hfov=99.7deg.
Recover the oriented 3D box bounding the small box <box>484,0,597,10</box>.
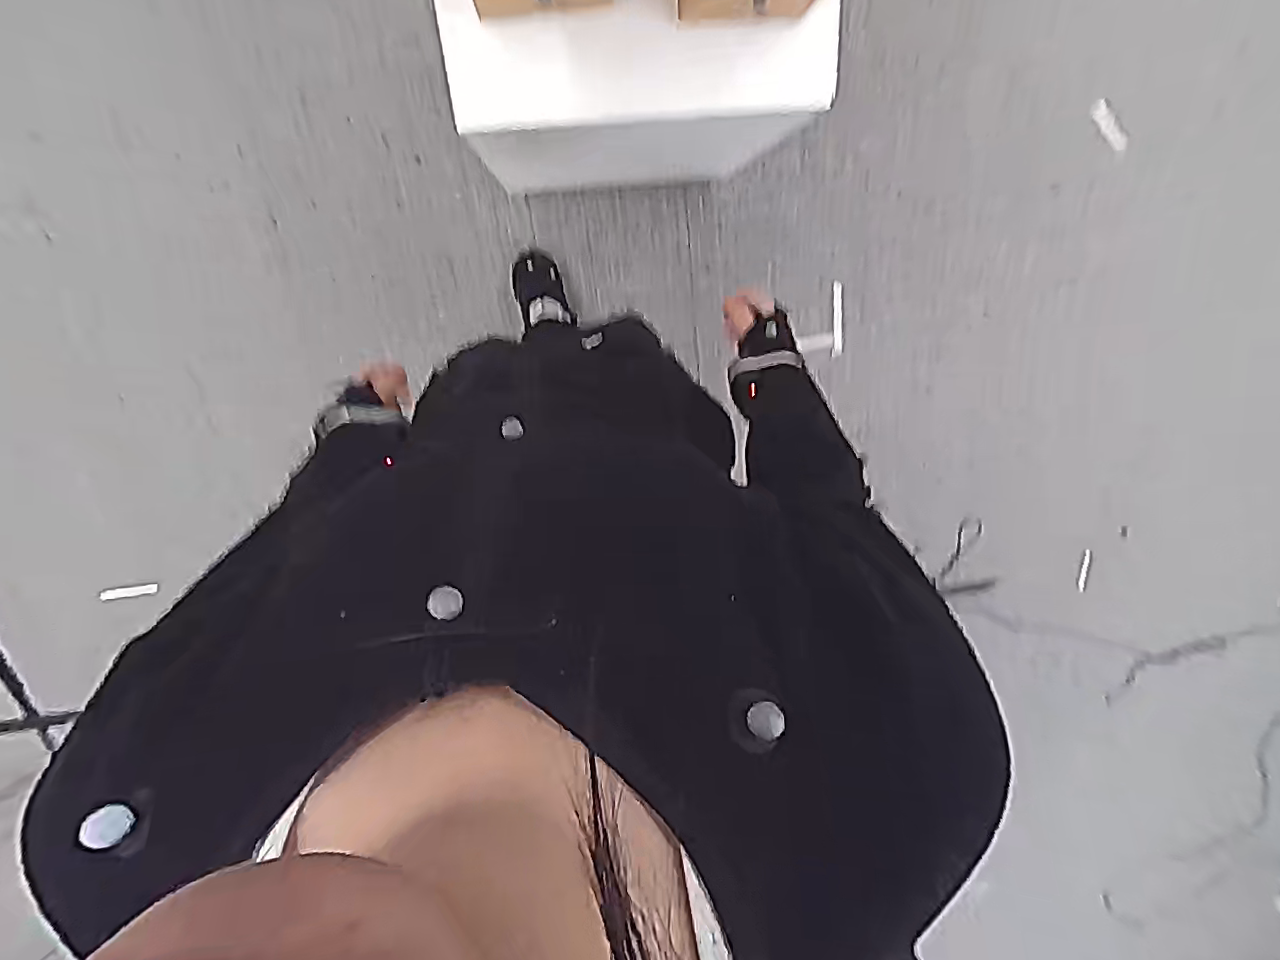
[{"bbox_3d":[-0.116,-0.633,0.555,0.168,0.176,0.179,-9,112,-3],"label":"small box"}]

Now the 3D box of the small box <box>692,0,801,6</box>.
[{"bbox_3d":[0.131,-0.646,0.580,0.168,0.176,0.179,-5,113,-5],"label":"small box"}]
